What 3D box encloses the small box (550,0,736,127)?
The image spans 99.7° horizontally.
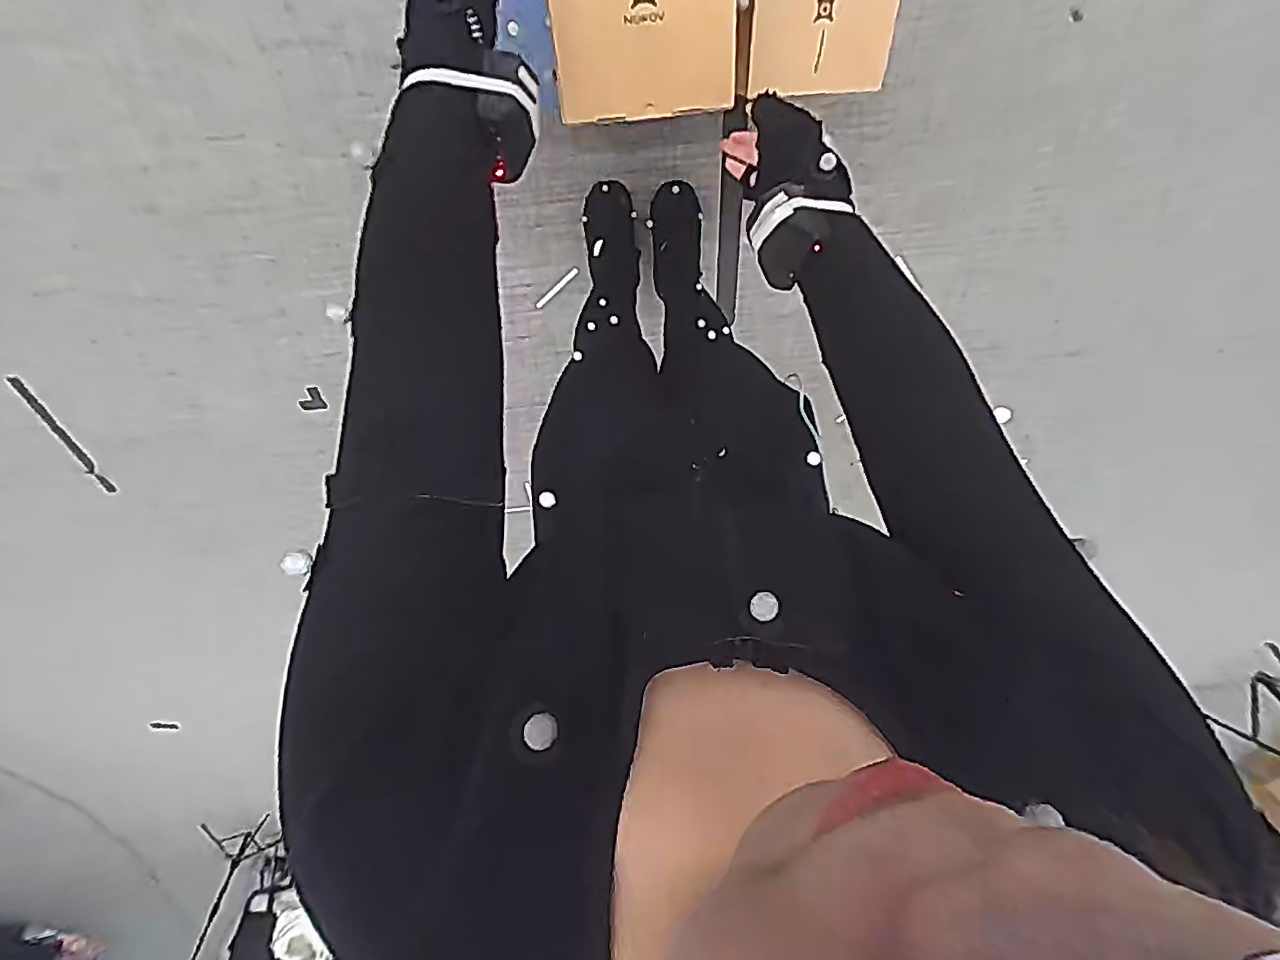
[{"bbox_3d":[-0.003,-0.467,0.532,0.168,0.176,0.179,-6,130,0],"label":"small box"}]

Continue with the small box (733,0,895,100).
[{"bbox_3d":[0.199,-0.583,0.663,0.168,0.176,0.179,-3,131,-1],"label":"small box"}]

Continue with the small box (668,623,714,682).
[{"bbox_3d":[0.208,0.702,2.219,0.168,0.176,0.179,-8,131,4],"label":"small box"}]
